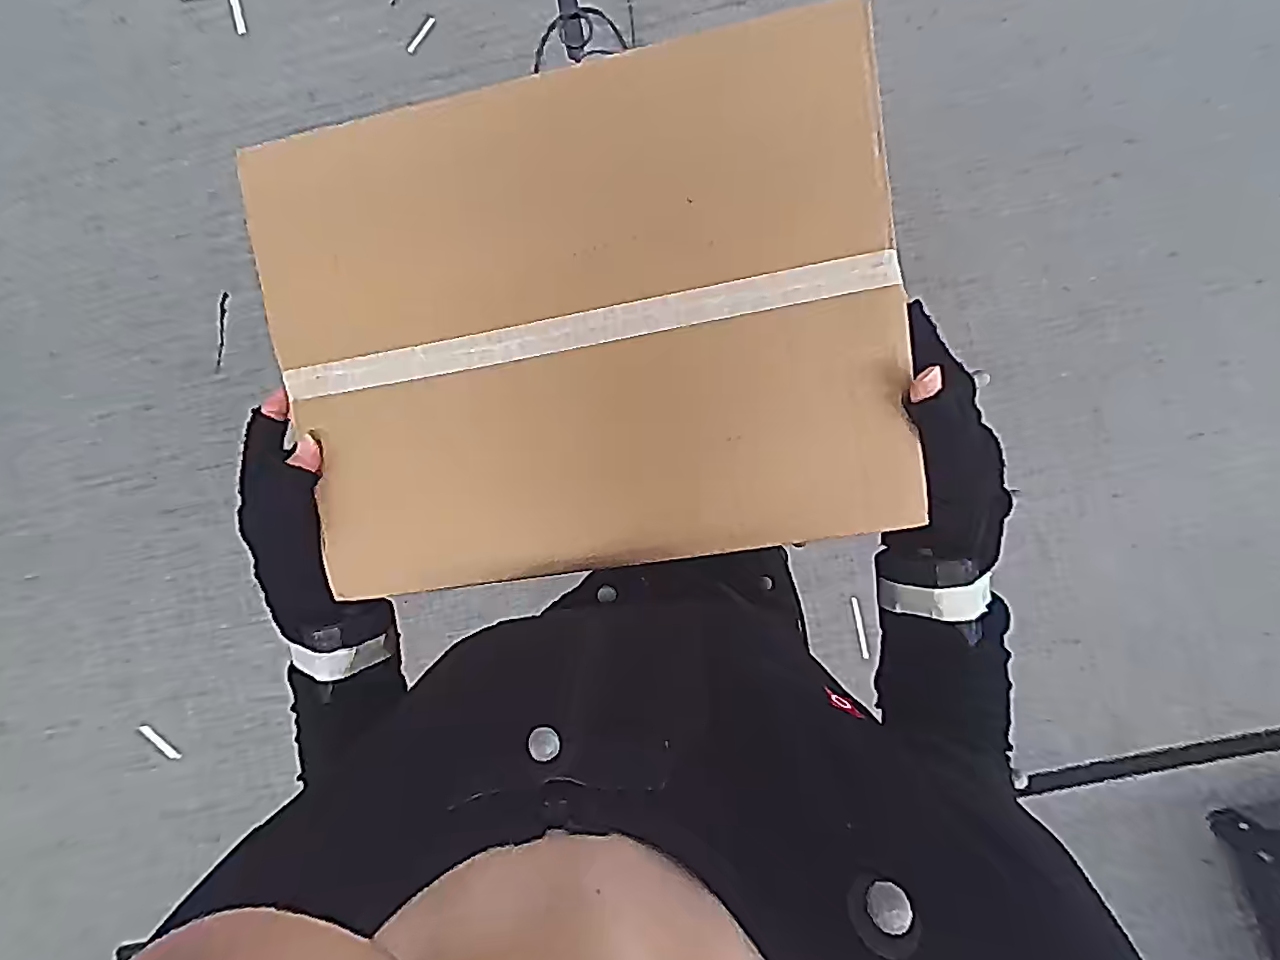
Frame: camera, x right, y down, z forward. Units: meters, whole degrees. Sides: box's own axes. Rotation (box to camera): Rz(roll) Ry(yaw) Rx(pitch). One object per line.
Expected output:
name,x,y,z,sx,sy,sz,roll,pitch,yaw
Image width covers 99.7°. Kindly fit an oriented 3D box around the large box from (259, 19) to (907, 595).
large box,-0.027,-0.113,0.508,0.408,0.320,0.320,-9,94,7
